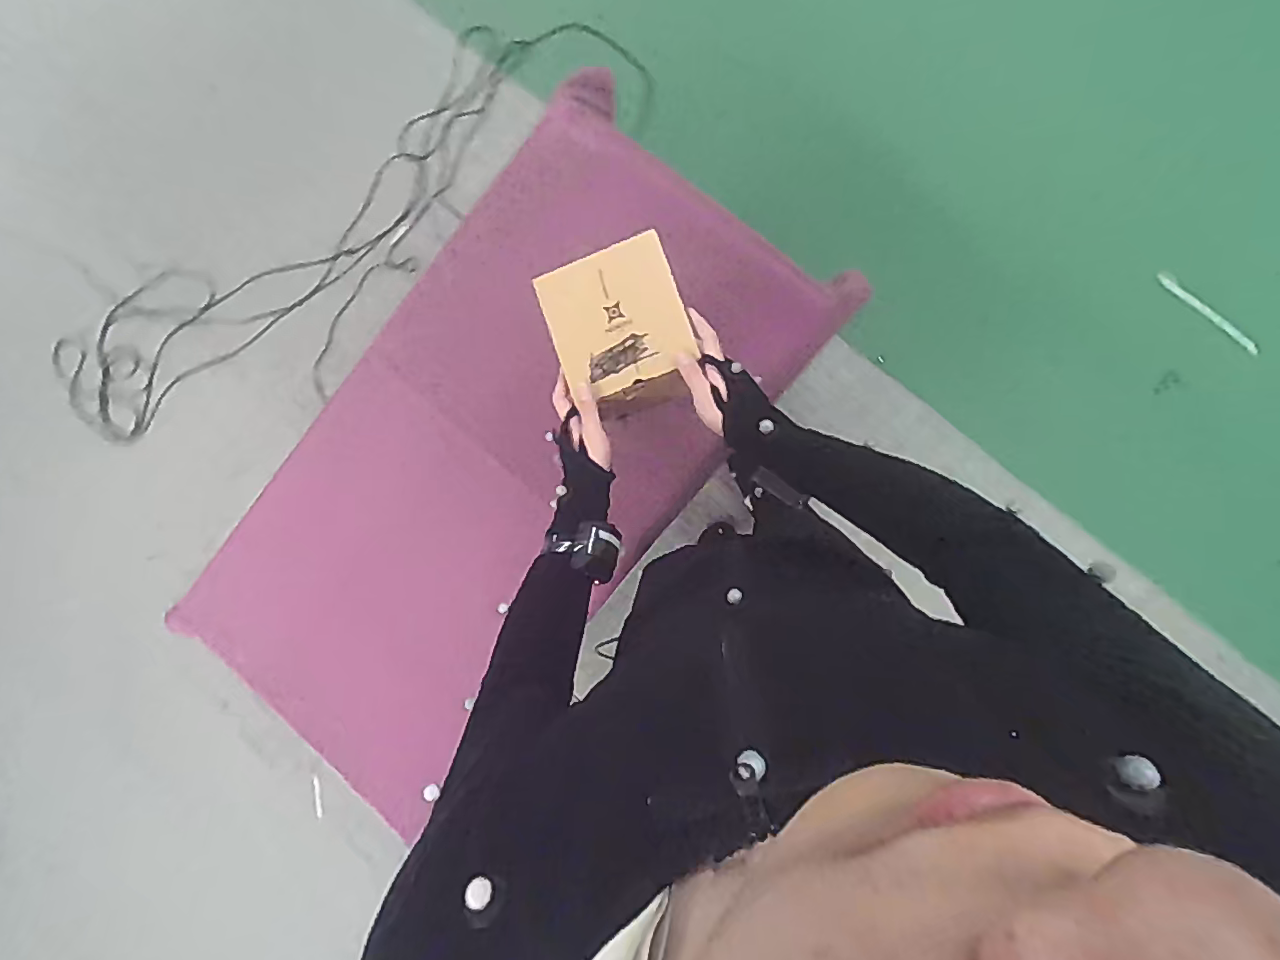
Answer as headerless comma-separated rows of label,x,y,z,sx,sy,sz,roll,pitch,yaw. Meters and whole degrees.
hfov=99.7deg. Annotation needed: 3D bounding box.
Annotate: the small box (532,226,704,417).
small box,-0.018,-0.192,0.719,0.168,0.176,0.179,-19,85,8
